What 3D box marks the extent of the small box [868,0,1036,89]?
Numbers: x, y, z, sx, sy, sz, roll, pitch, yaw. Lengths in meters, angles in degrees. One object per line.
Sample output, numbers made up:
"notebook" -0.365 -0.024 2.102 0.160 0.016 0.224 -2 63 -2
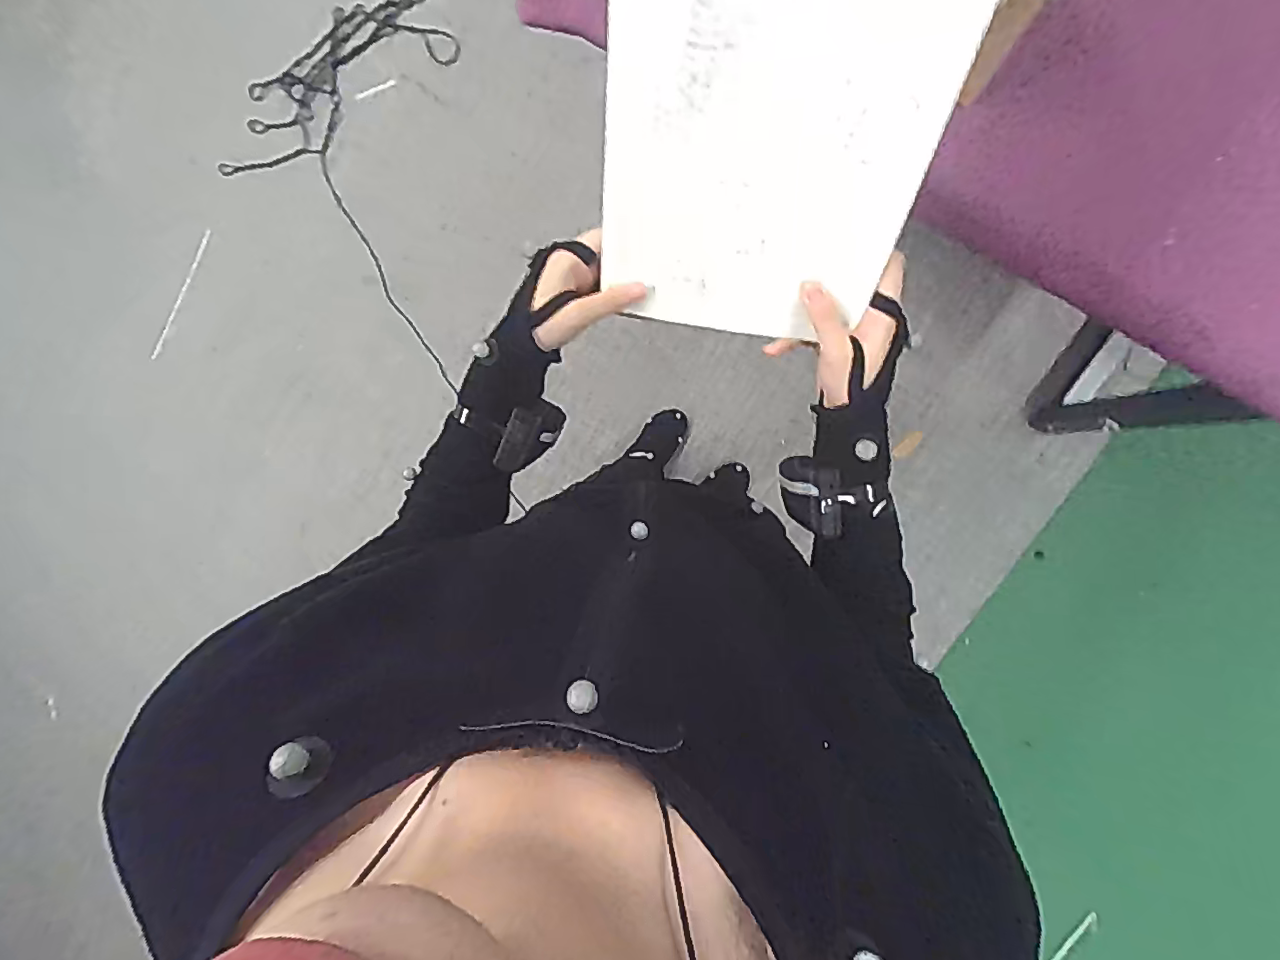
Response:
"small box" 0.380 -0.593 0.600 0.168 0.176 0.179 35 99 6
